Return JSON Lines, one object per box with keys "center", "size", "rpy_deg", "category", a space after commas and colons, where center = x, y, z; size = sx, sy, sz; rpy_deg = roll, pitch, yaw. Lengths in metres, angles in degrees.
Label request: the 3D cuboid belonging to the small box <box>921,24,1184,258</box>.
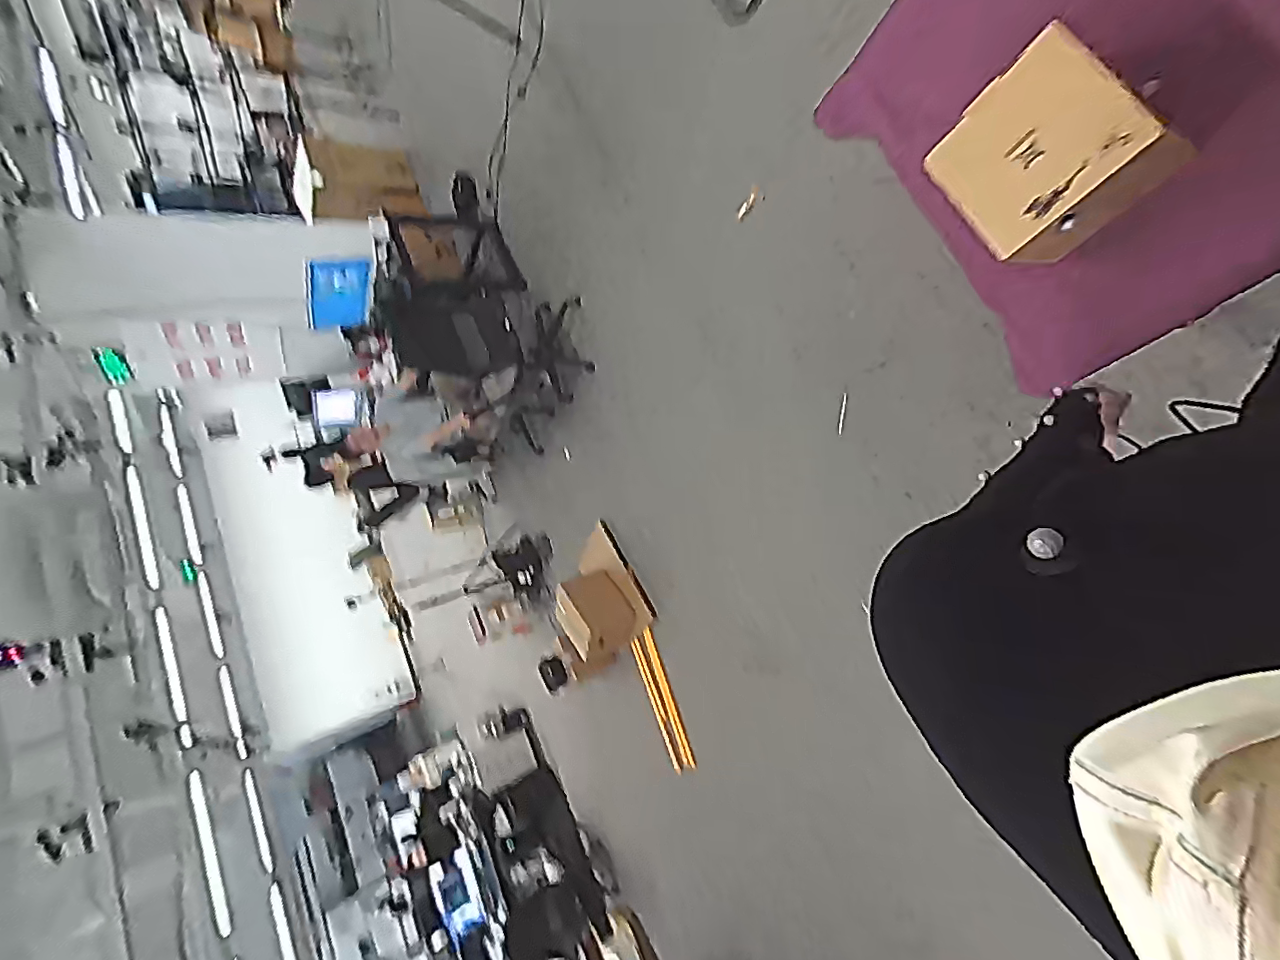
{"center": [0.494, -0.390, 0.657], "size": [0.168, 0.176, 0.179], "rpy_deg": [-47, 64, 51], "category": "small box"}
